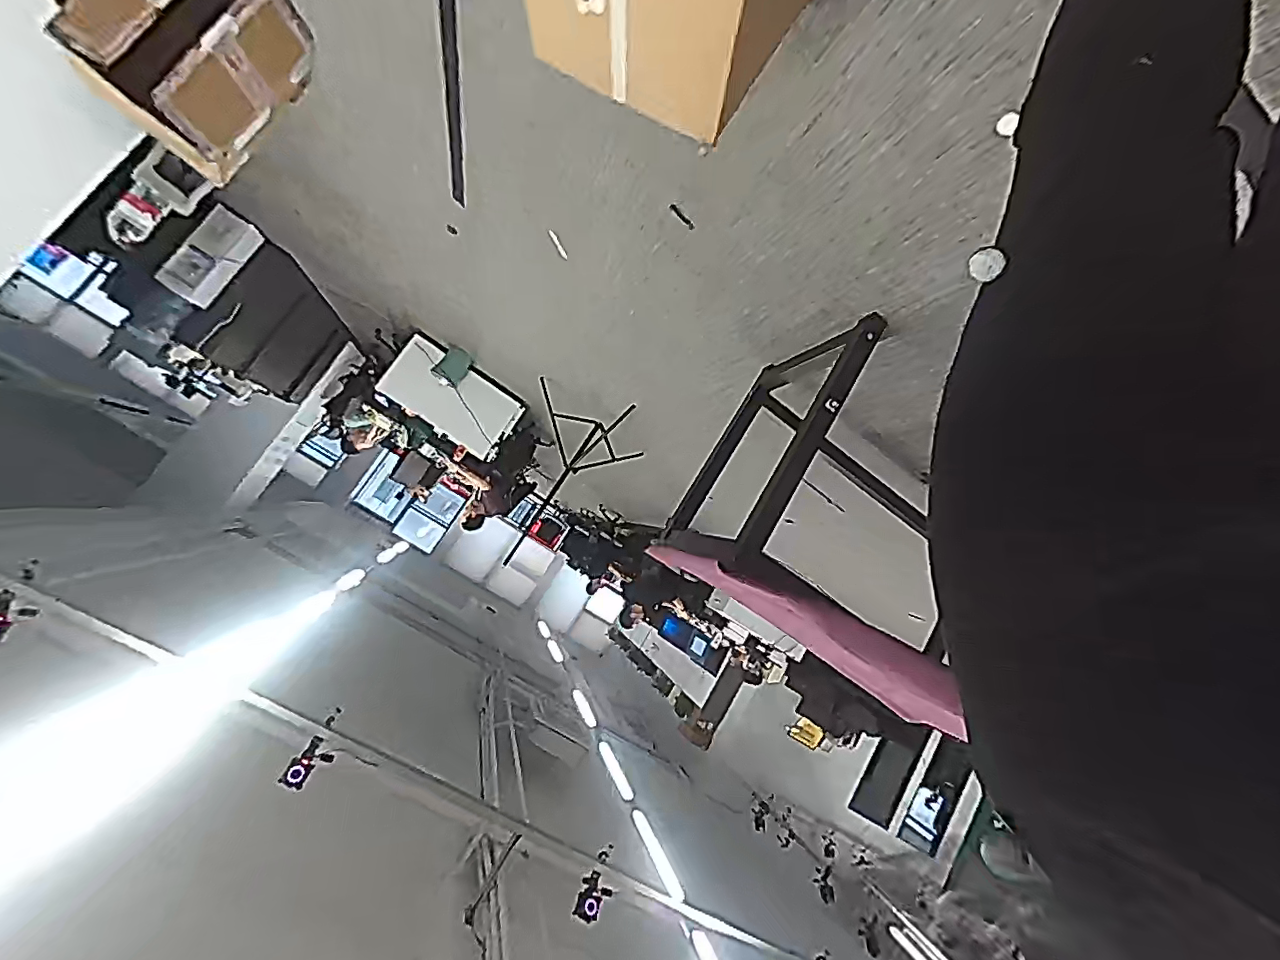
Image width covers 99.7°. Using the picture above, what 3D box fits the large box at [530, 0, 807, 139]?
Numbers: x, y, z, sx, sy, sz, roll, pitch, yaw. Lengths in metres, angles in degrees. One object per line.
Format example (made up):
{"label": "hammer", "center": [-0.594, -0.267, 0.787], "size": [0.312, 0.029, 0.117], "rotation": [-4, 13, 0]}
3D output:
{"label": "large box", "center": [0.057, -0.725, 0.617], "size": [0.320, 0.320, 0.408], "rotation": [31, 171, 5]}
